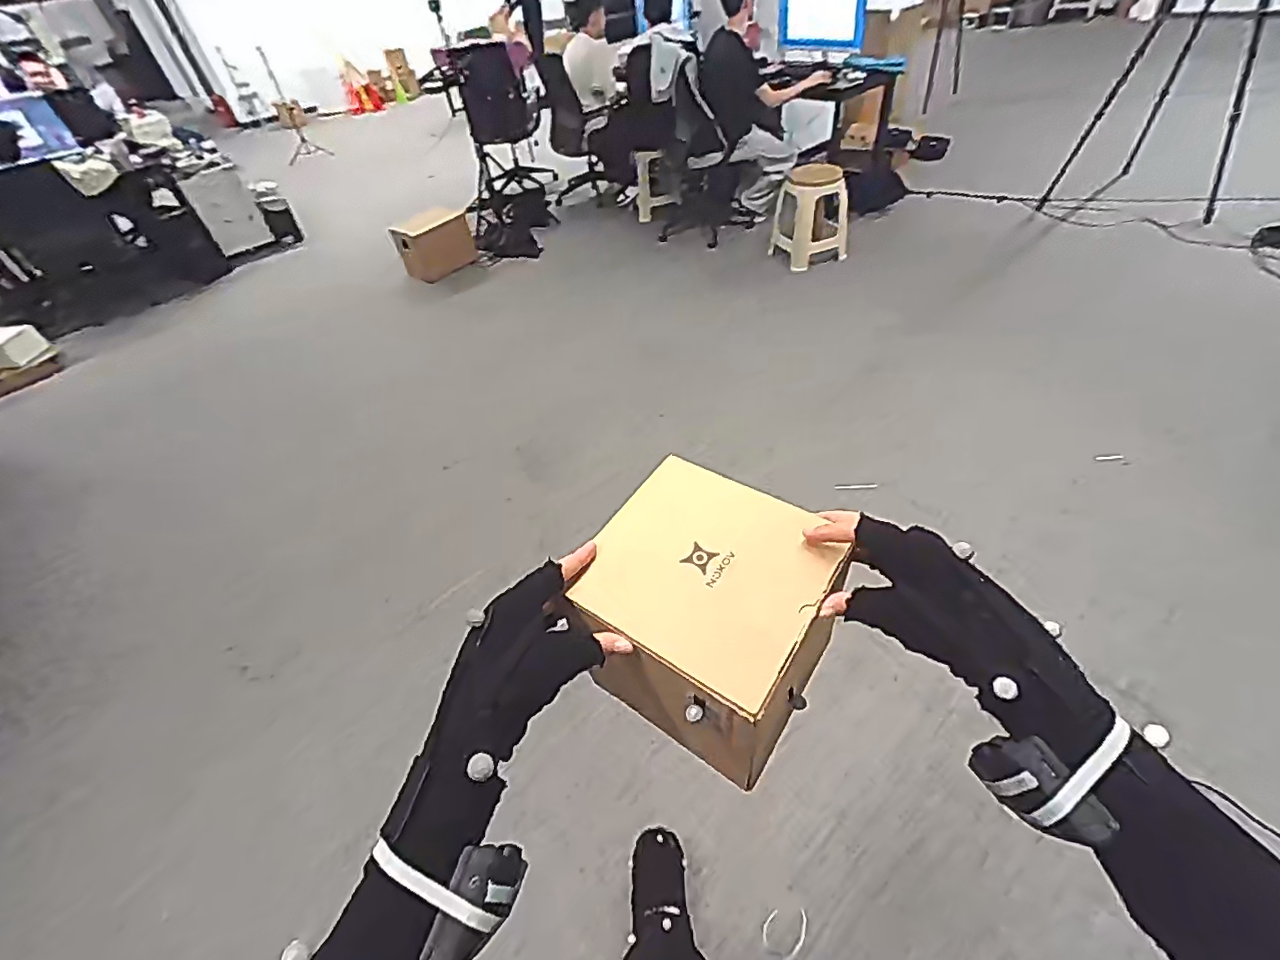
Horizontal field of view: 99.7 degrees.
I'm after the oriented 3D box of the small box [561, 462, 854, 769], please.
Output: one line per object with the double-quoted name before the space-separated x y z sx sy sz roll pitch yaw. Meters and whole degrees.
"small box" 0.059 0.120 0.480 0.179 0.176 0.168 26 55 27
